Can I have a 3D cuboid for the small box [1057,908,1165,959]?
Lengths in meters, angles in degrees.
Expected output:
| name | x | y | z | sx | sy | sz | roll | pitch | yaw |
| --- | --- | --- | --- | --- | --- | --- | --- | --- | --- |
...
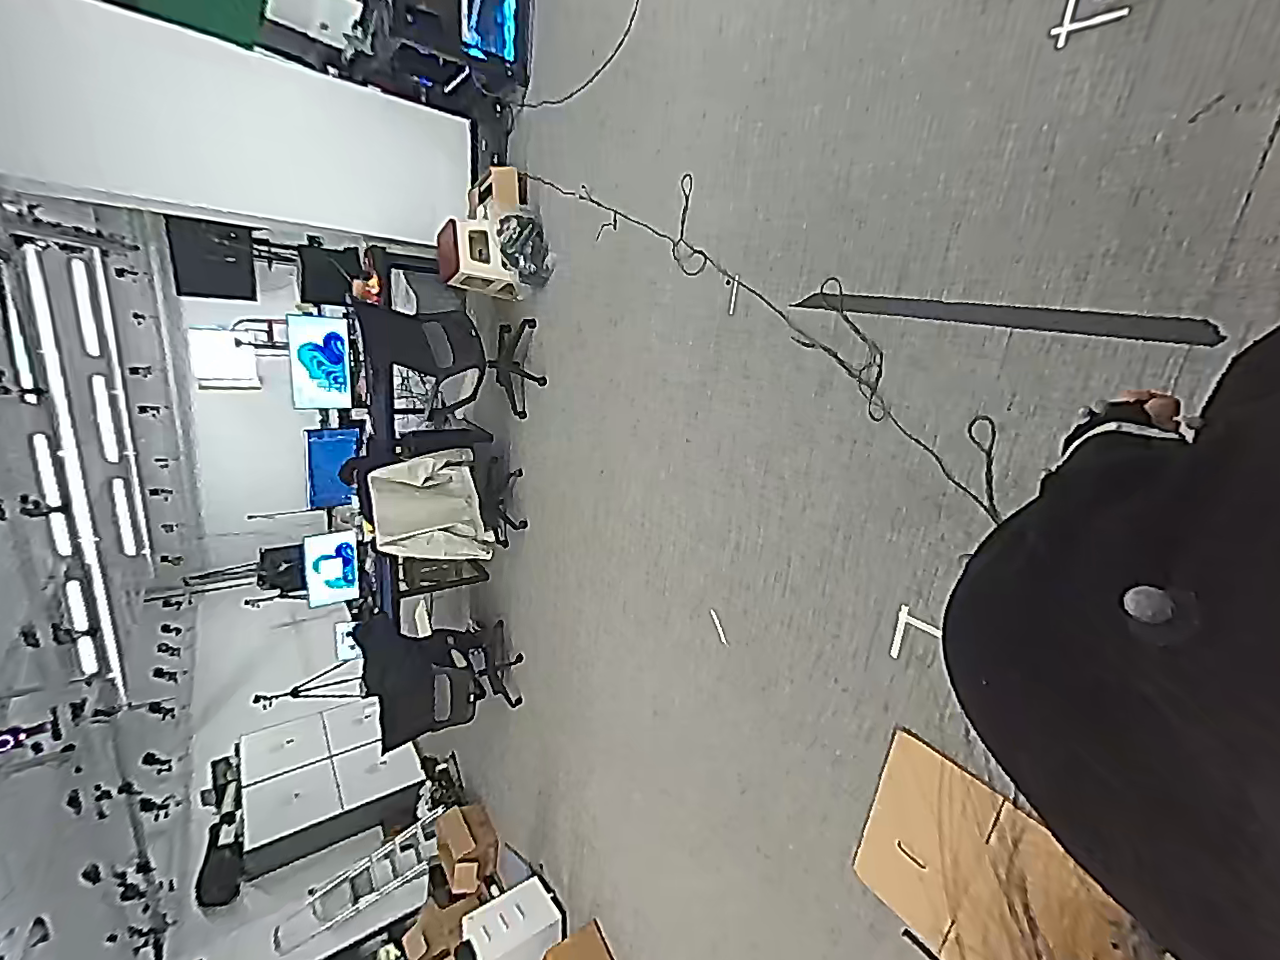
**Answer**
| name | x | y | z | sx | sy | sz | roll | pitch | yaw |
| --- | --- | --- | --- | --- | --- | --- | --- | --- | --- |
| small box | 1.038 | 1.110 | 1.191 | 0.168 | 0.176 | 0.179 | 7 | 100 | 52 |
